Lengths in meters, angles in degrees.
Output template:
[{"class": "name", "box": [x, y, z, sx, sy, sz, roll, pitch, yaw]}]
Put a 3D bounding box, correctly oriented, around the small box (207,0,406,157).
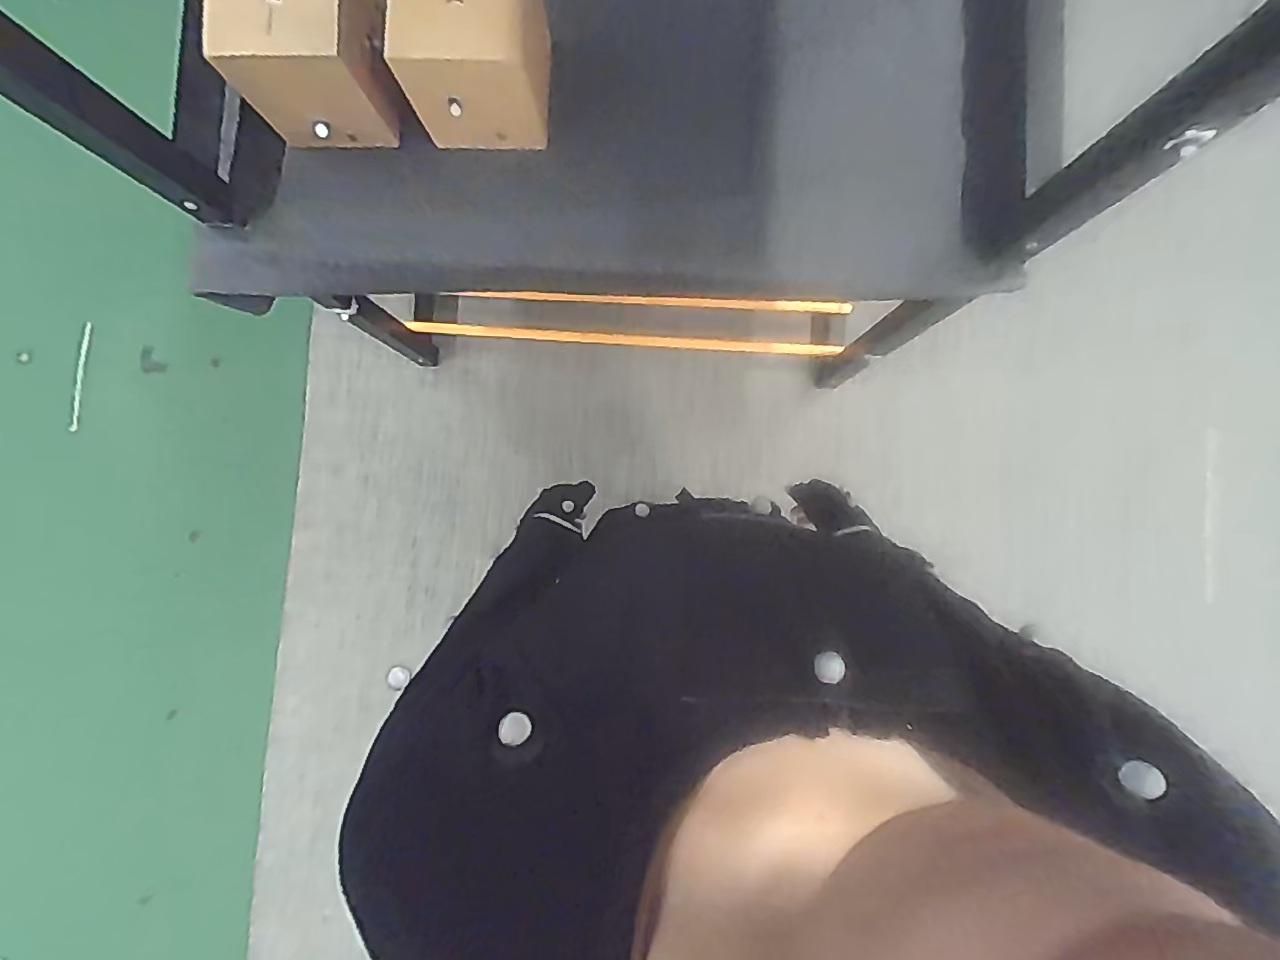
[{"class": "small box", "box": [-0.436, -0.577, 0.734, 0.168, 0.176, 0.179, 1, 87, 1]}]
